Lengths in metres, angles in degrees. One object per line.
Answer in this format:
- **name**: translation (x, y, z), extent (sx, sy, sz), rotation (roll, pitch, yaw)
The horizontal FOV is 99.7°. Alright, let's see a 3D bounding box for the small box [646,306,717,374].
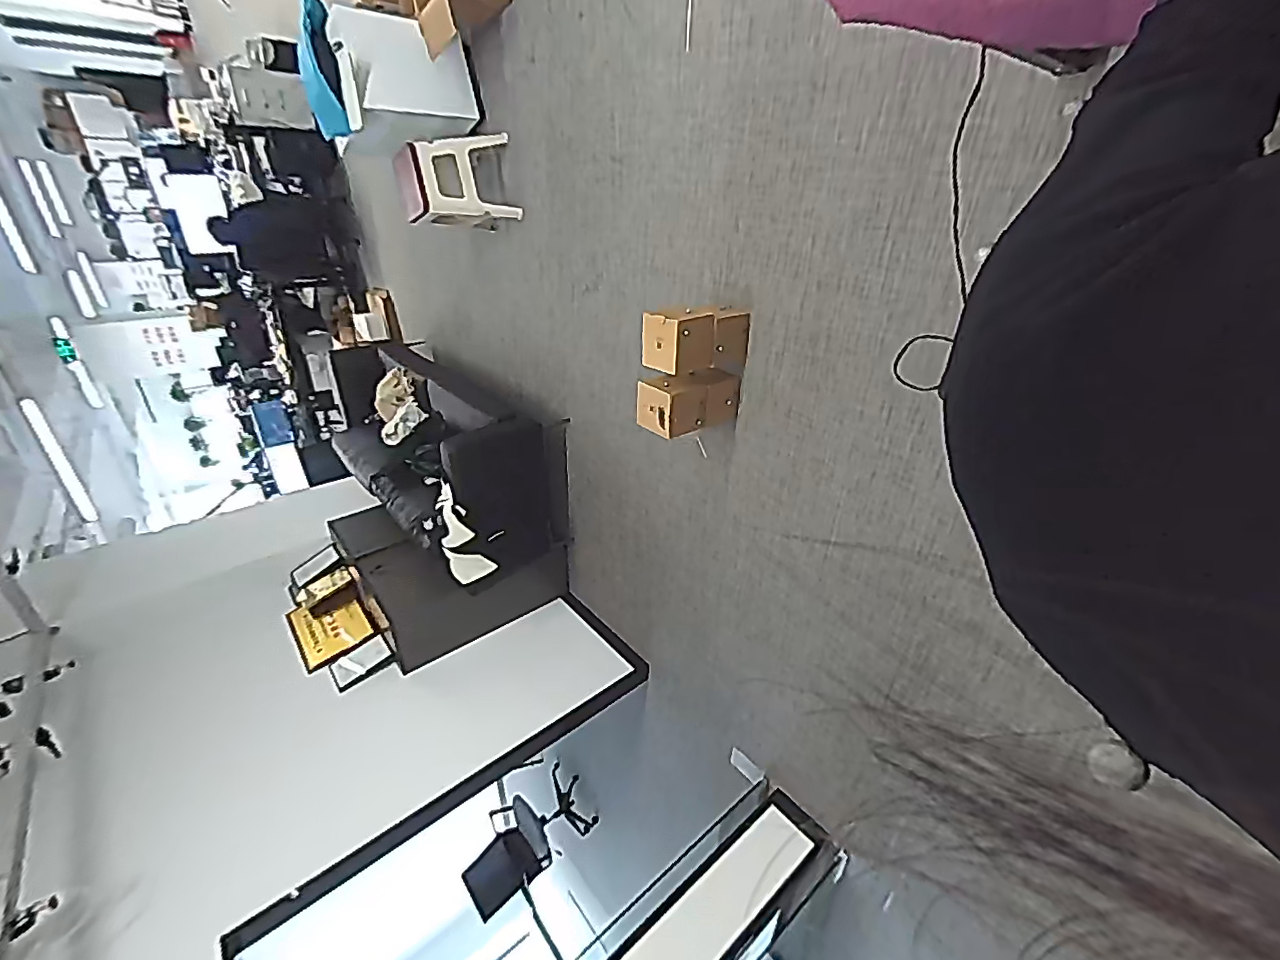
- **small box**: translation (0.136, -0.465, 1.781), extent (0.168, 0.176, 0.179), rotation (28, 128, 43)

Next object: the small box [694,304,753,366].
- **small box**: translation (0.264, -0.508, 1.873), extent (0.179, 0.176, 0.168), rotation (30, 131, 43)
